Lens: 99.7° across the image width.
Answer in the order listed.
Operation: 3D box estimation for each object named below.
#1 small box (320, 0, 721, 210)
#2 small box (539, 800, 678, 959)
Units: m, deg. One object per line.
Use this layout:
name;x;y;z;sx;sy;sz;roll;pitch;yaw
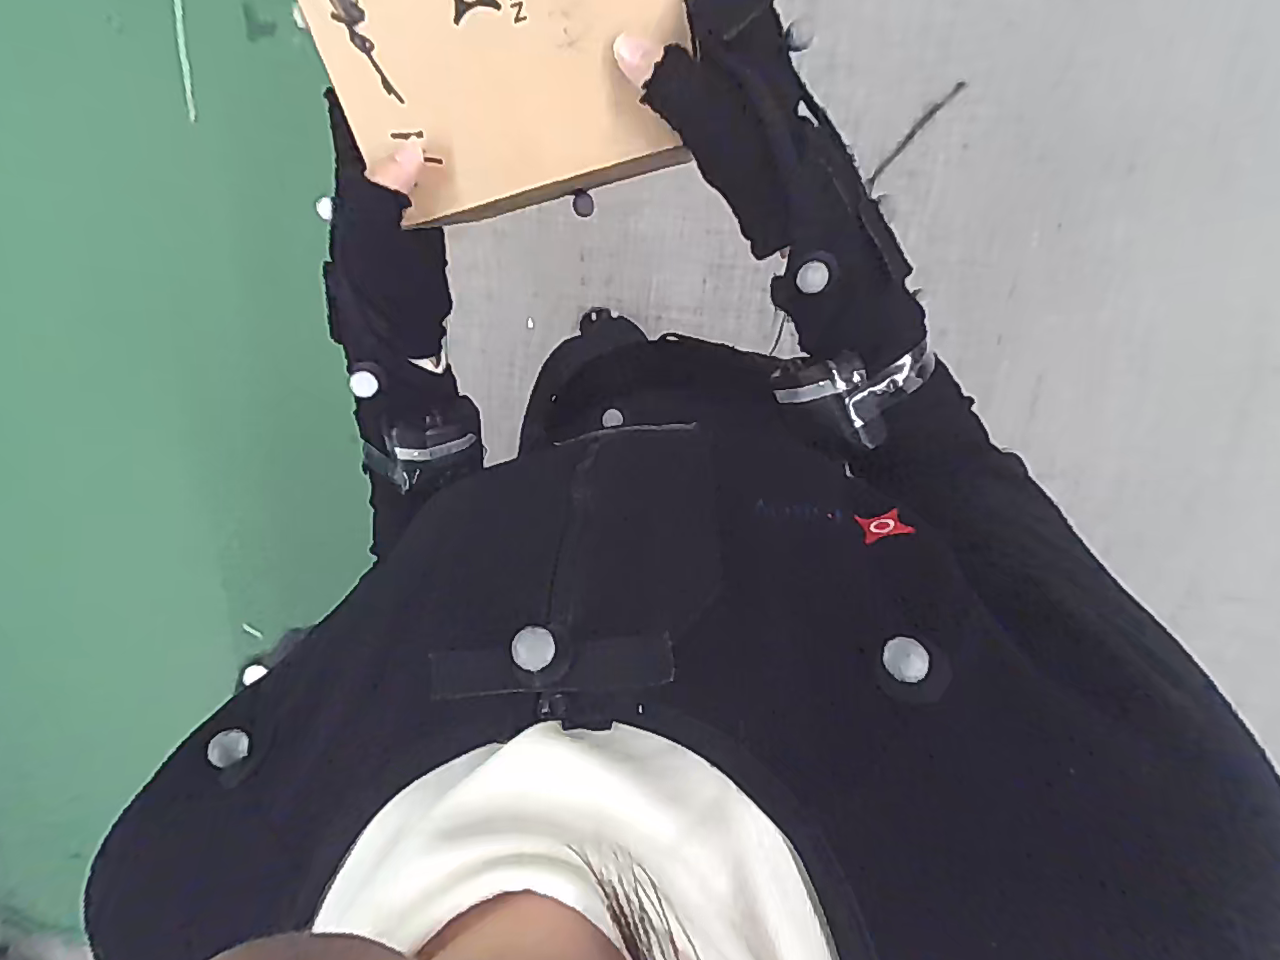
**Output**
small box;-0.060;-0.266;0.312;0.179;0.176;0.168;-11;116;7
small box;-0.039;0.608;0.795;0.179;0.176;0.168;4;108;6
